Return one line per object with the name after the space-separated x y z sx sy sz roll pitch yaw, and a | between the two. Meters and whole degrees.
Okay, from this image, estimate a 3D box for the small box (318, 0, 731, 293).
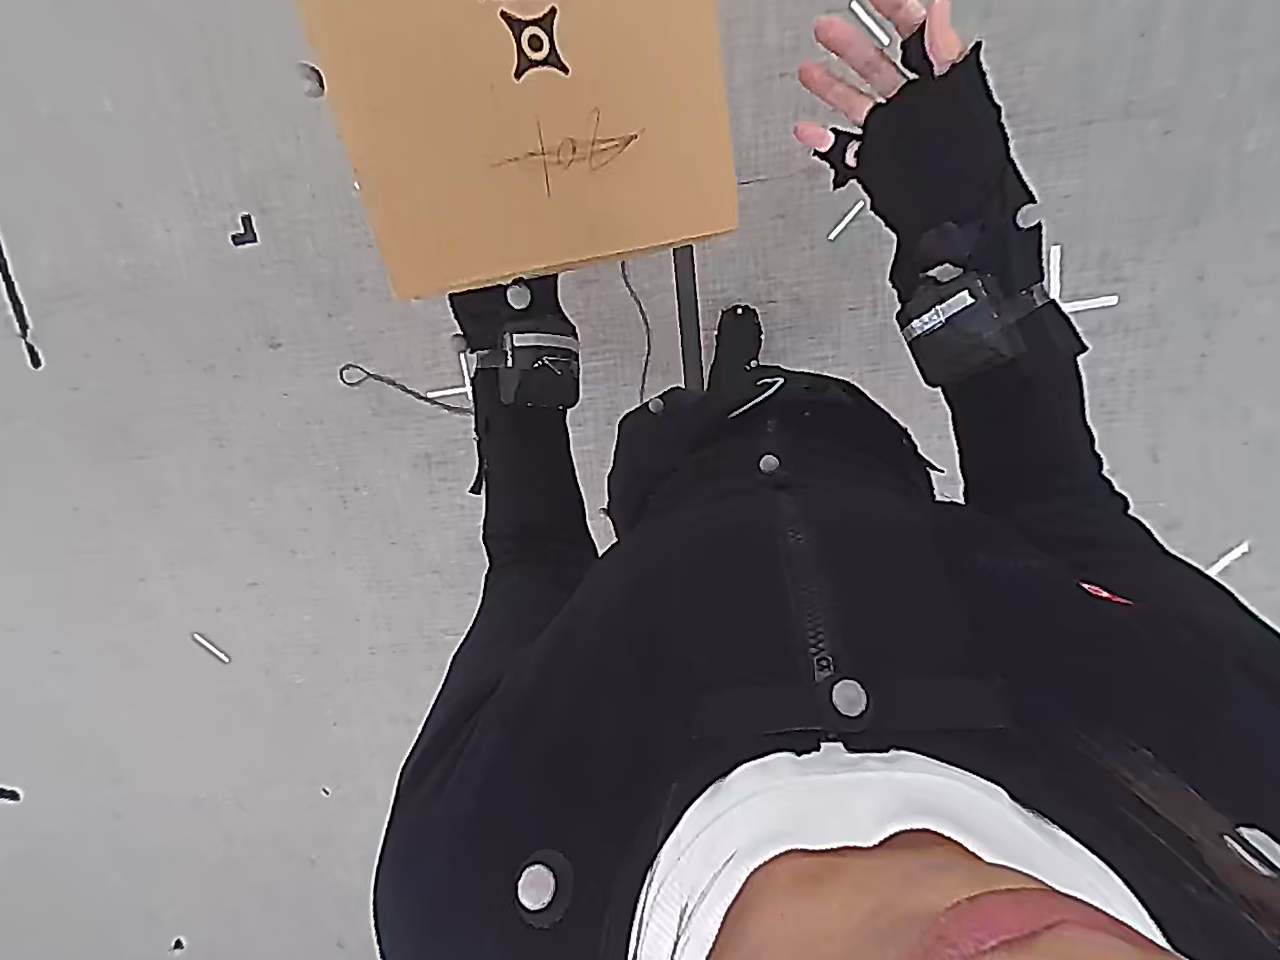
-0.070 -0.209 0.299 0.168 0.176 0.179 -17 112 -14 | small box
